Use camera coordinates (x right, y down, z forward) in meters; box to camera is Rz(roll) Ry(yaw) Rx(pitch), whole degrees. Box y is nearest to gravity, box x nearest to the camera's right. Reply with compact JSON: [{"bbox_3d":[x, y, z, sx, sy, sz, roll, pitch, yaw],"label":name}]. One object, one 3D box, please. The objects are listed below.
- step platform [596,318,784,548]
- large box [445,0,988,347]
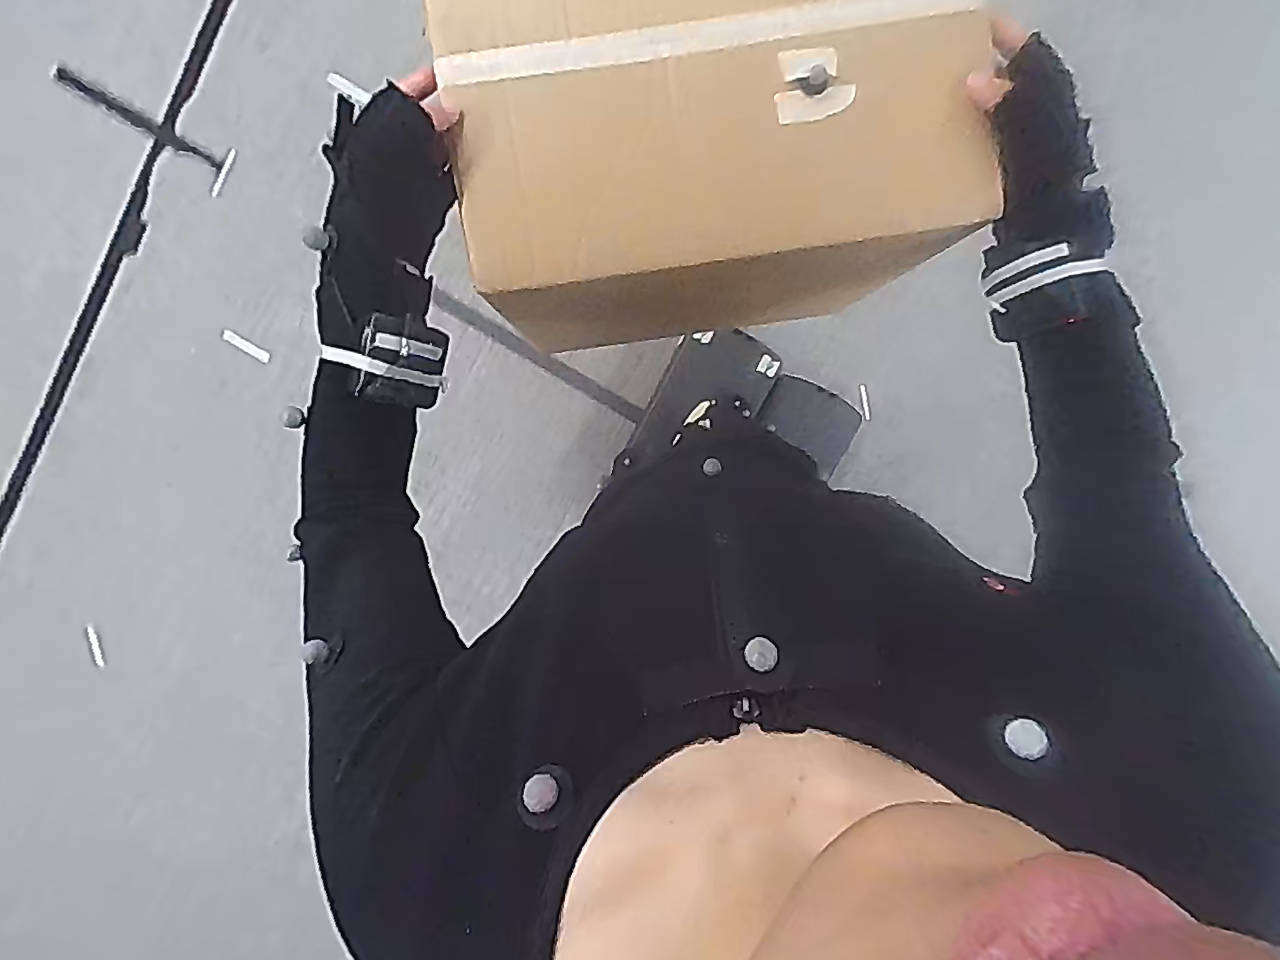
[{"bbox_3d":[0.136,-0.149,1.563,0.286,0.204,0.684,27,94,-3],"label":"step platform"},{"bbox_3d":[0.051,-0.343,0.558,0.408,0.320,0.320,-8,95,-2],"label":"large box"}]
